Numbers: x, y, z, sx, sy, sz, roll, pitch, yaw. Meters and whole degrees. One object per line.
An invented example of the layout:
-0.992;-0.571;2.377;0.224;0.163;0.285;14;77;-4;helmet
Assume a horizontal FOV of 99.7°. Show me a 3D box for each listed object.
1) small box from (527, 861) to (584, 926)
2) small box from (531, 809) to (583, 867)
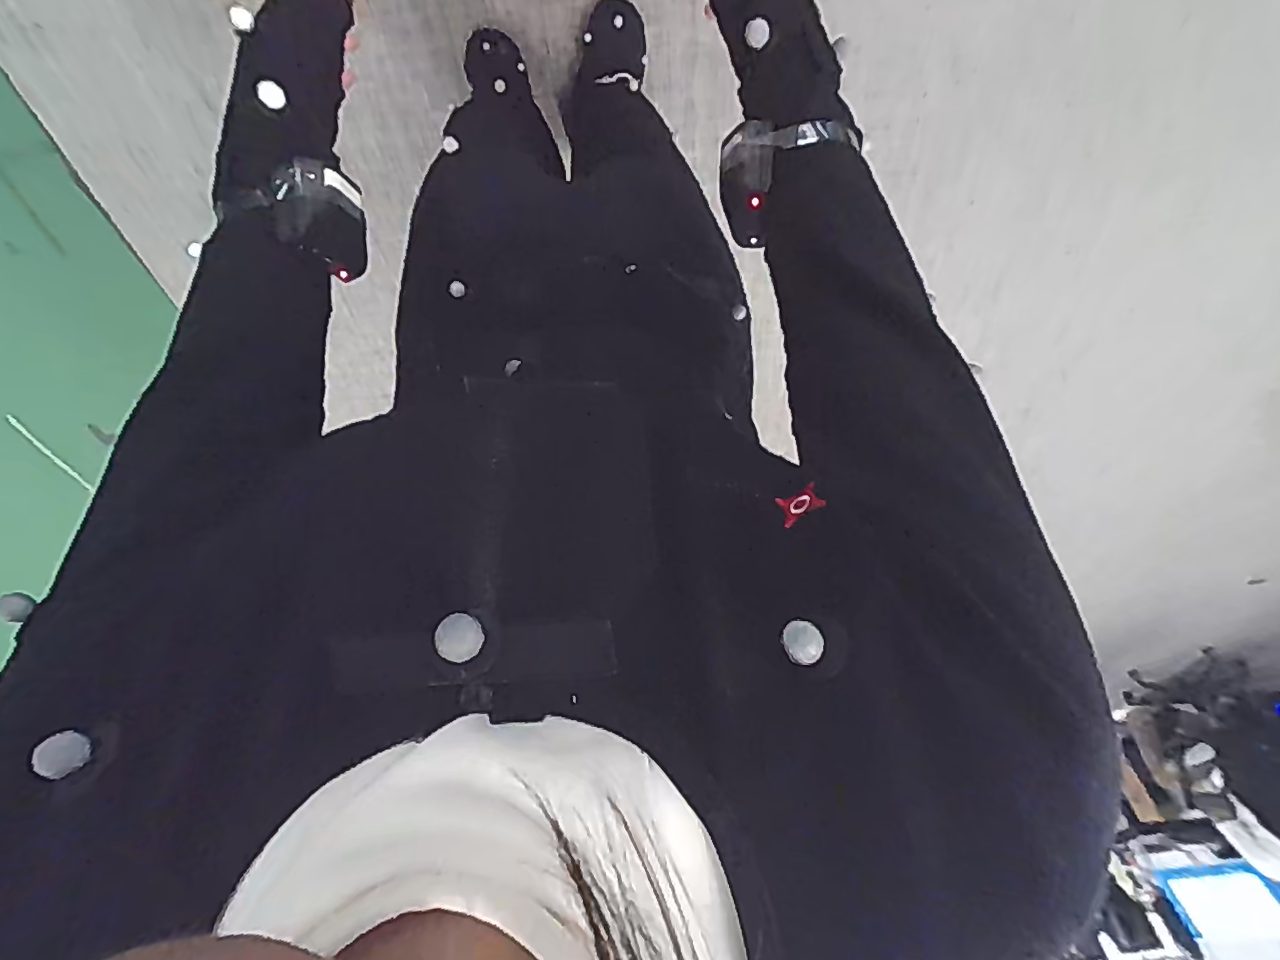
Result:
-0.296;1.479;1.935;0.168;0.176;0.179;-6;136;2;small box
-0.307;1.361;2.049;0.168;0.176;0.179;-6;137;1;small box
